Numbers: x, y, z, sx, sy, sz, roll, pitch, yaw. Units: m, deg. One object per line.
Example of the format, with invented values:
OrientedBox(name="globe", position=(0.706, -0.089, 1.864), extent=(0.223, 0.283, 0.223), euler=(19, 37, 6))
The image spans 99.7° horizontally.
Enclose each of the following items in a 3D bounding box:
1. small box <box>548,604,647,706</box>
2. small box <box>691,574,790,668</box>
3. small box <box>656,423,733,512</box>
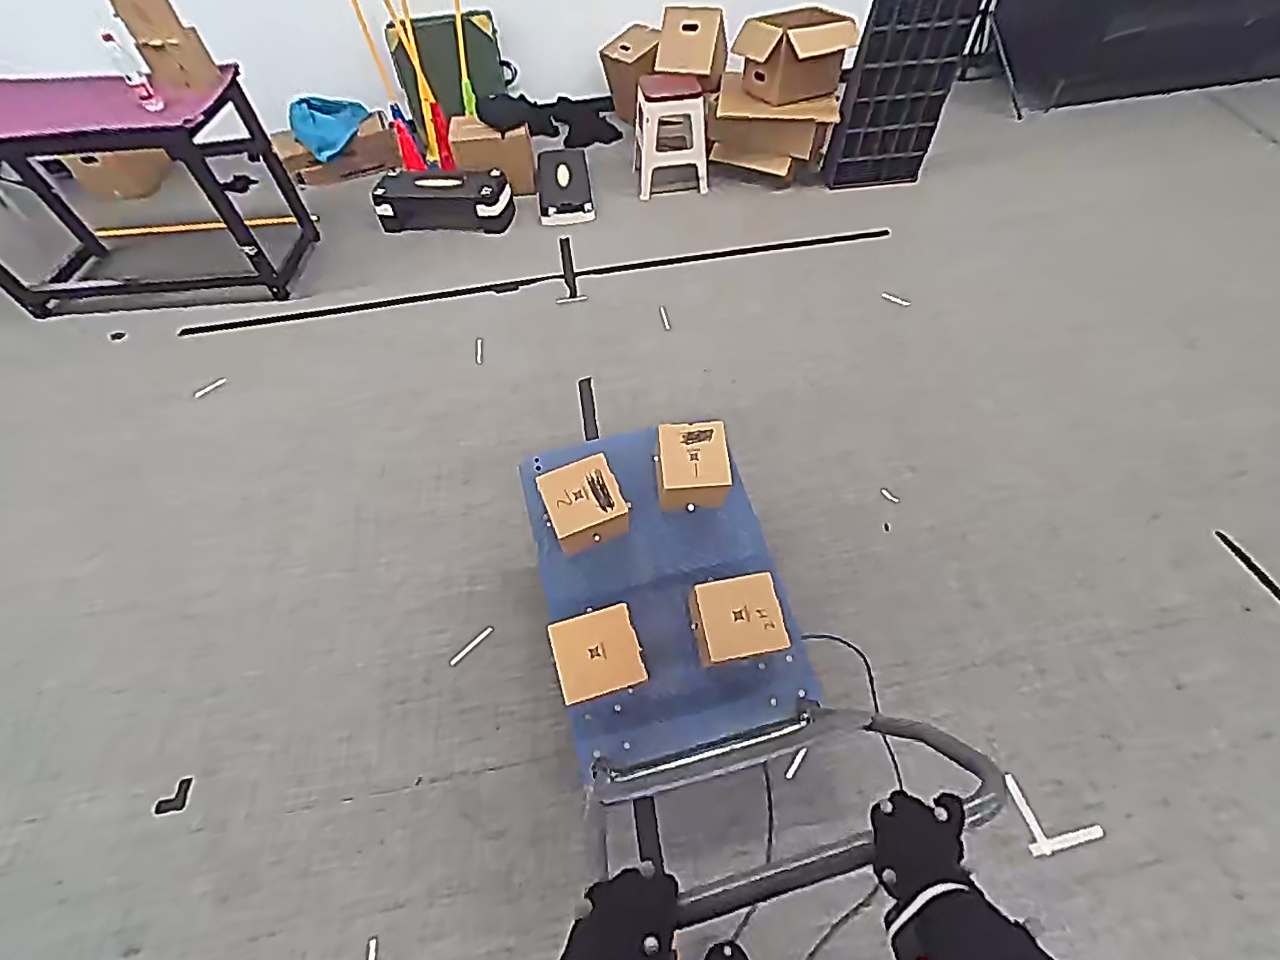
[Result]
OrientedBox(name="small box", position=(-0.091, 0.391, 1.194), extent=(0.179, 0.176, 0.168), euler=(-15, 68, -9))
OrientedBox(name="small box", position=(0.217, 0.325, 1.230), extent=(0.179, 0.176, 0.168), euler=(-9, 68, -5))
OrientedBox(name="small box", position=(0.131, -0.029, 1.380), extent=(0.168, 0.176, 0.179), euler=(-3, 68, -3))
